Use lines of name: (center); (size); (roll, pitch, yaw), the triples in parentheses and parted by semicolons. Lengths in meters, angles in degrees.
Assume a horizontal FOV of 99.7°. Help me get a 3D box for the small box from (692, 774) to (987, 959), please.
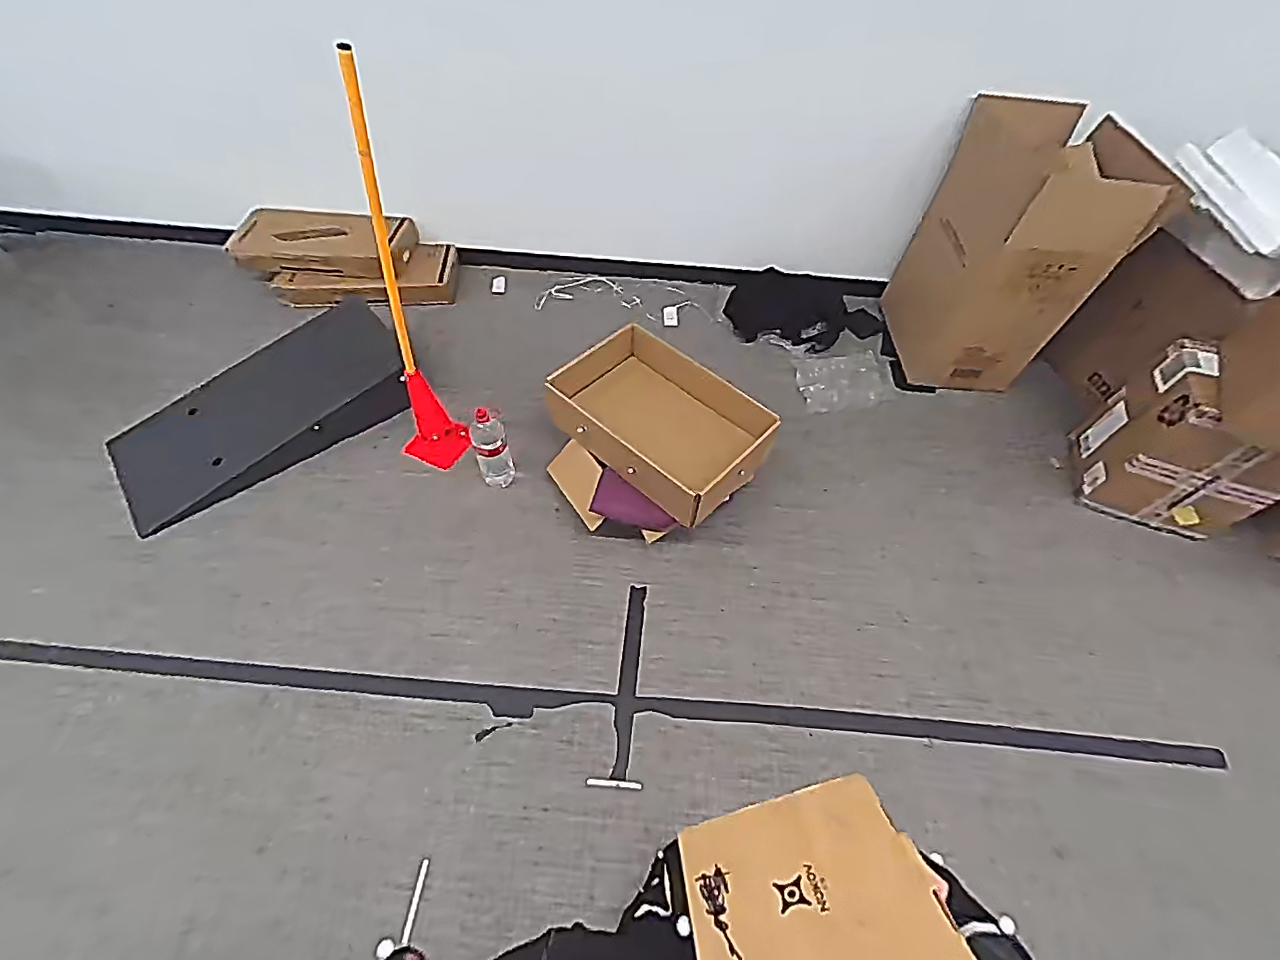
small box: (0.155, 0.384, 0.432); (0.179, 0.176, 0.168); (-17, 14, 1)
